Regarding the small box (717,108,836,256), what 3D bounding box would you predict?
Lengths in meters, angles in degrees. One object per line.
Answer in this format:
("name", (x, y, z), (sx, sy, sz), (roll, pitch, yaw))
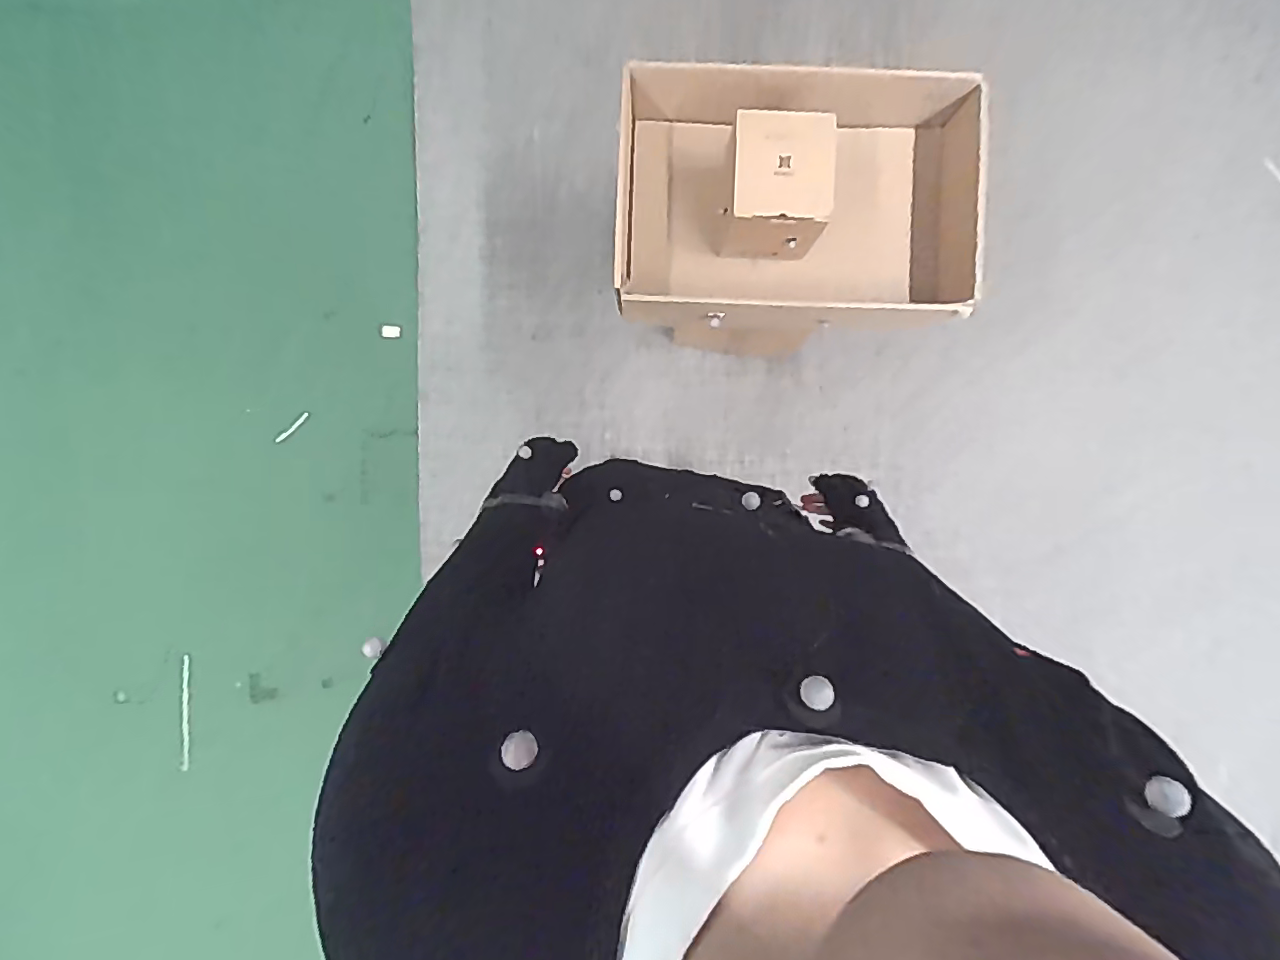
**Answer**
("small box", (0.234, -0.518, 0.963), (0.168, 0.176, 0.179), (2, 89, -2))
